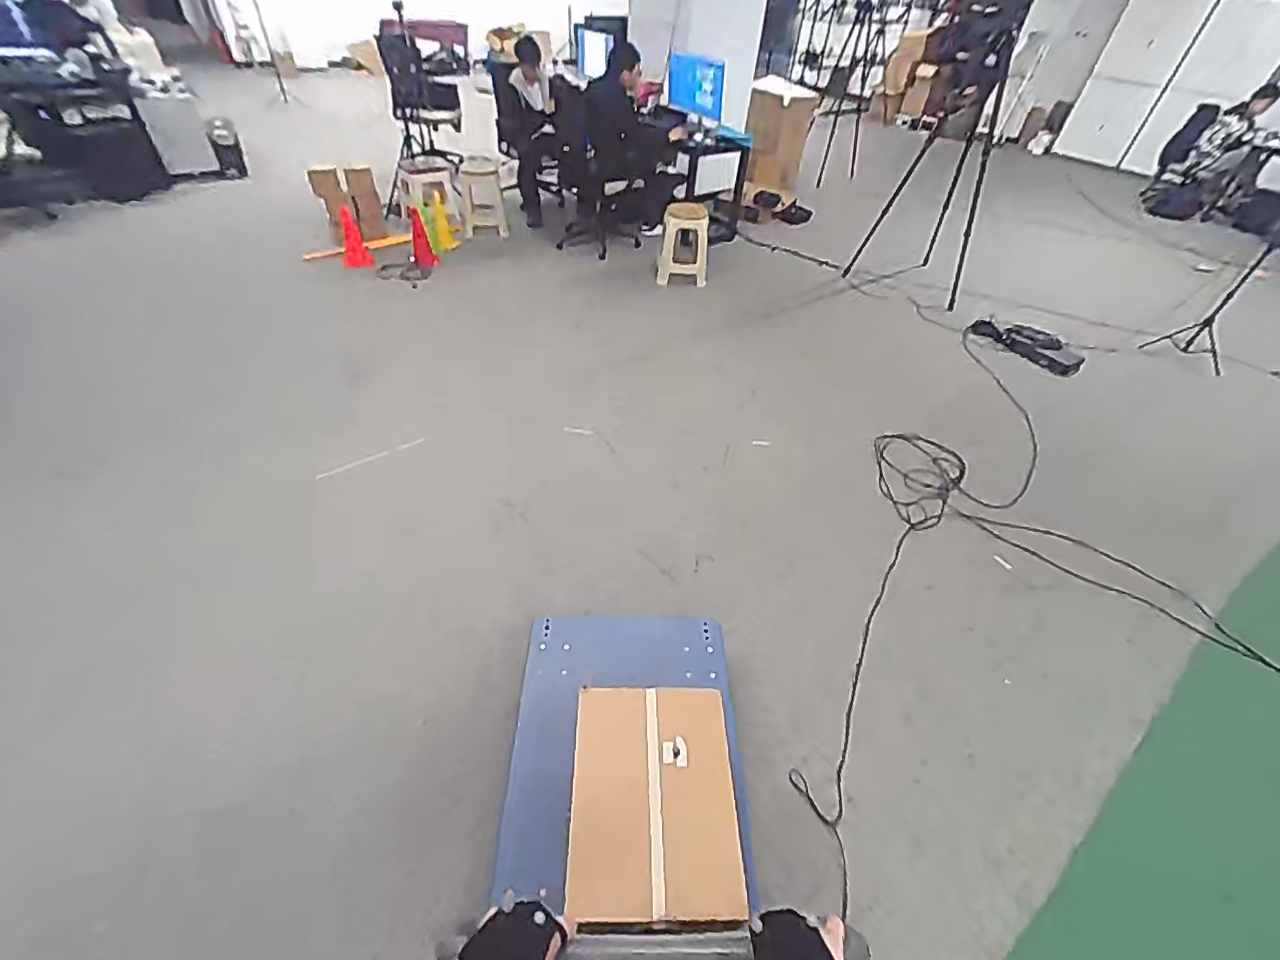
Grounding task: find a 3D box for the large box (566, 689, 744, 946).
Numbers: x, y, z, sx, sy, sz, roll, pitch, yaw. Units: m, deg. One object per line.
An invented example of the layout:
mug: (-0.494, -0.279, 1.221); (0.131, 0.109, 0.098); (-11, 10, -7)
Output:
large box: (0.015, 0.714, 1.162); (0.320, 0.320, 0.408); (2, 42, -3)
